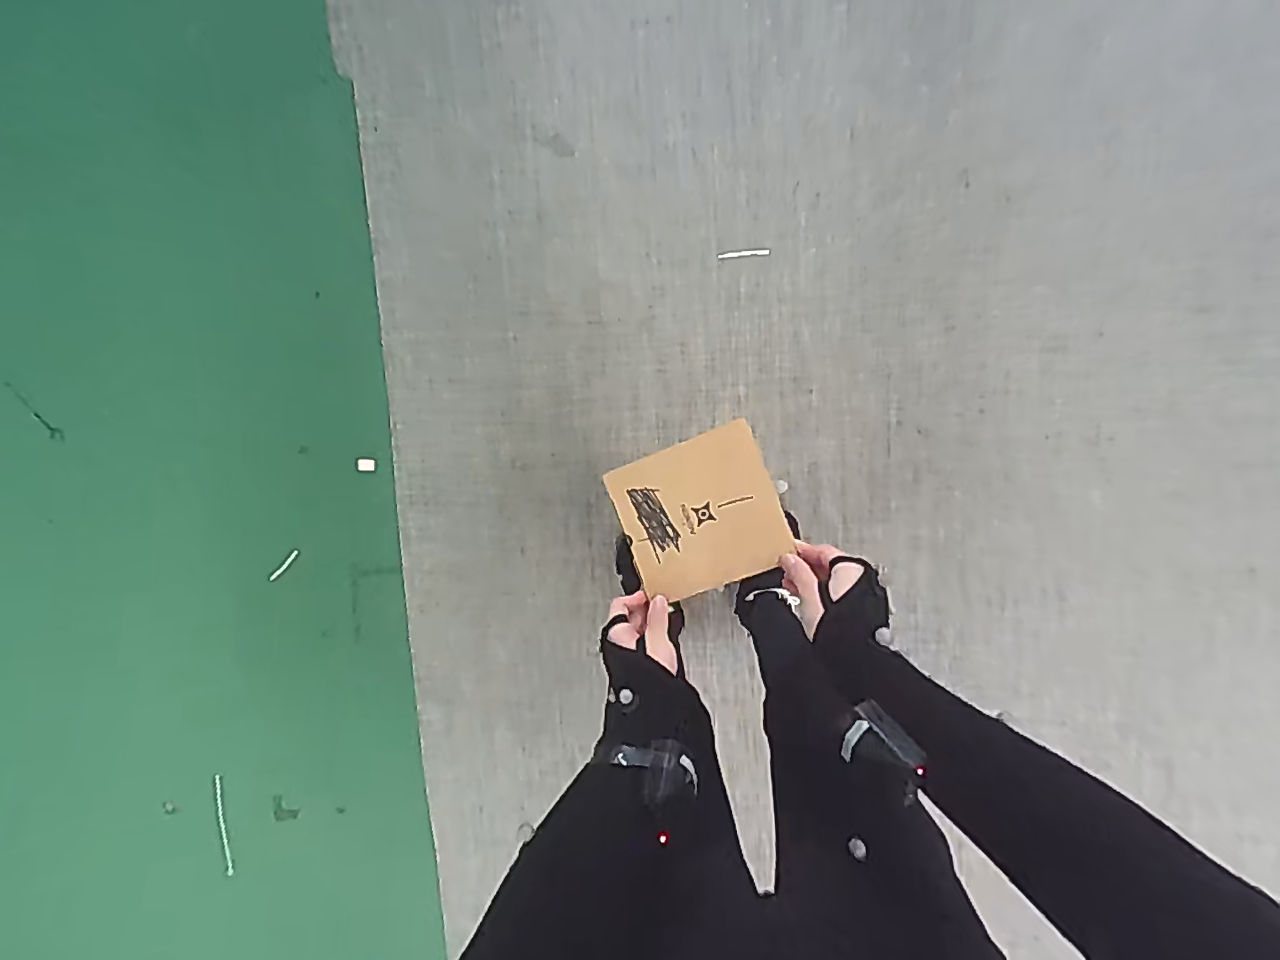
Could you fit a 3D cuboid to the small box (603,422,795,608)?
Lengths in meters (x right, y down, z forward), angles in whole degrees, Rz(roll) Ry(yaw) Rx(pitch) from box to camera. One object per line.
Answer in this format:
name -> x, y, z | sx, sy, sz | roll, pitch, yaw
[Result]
small box -> 0.081, 0.042, 0.677 | 0.179, 0.176, 0.168 | -22, 85, 12
